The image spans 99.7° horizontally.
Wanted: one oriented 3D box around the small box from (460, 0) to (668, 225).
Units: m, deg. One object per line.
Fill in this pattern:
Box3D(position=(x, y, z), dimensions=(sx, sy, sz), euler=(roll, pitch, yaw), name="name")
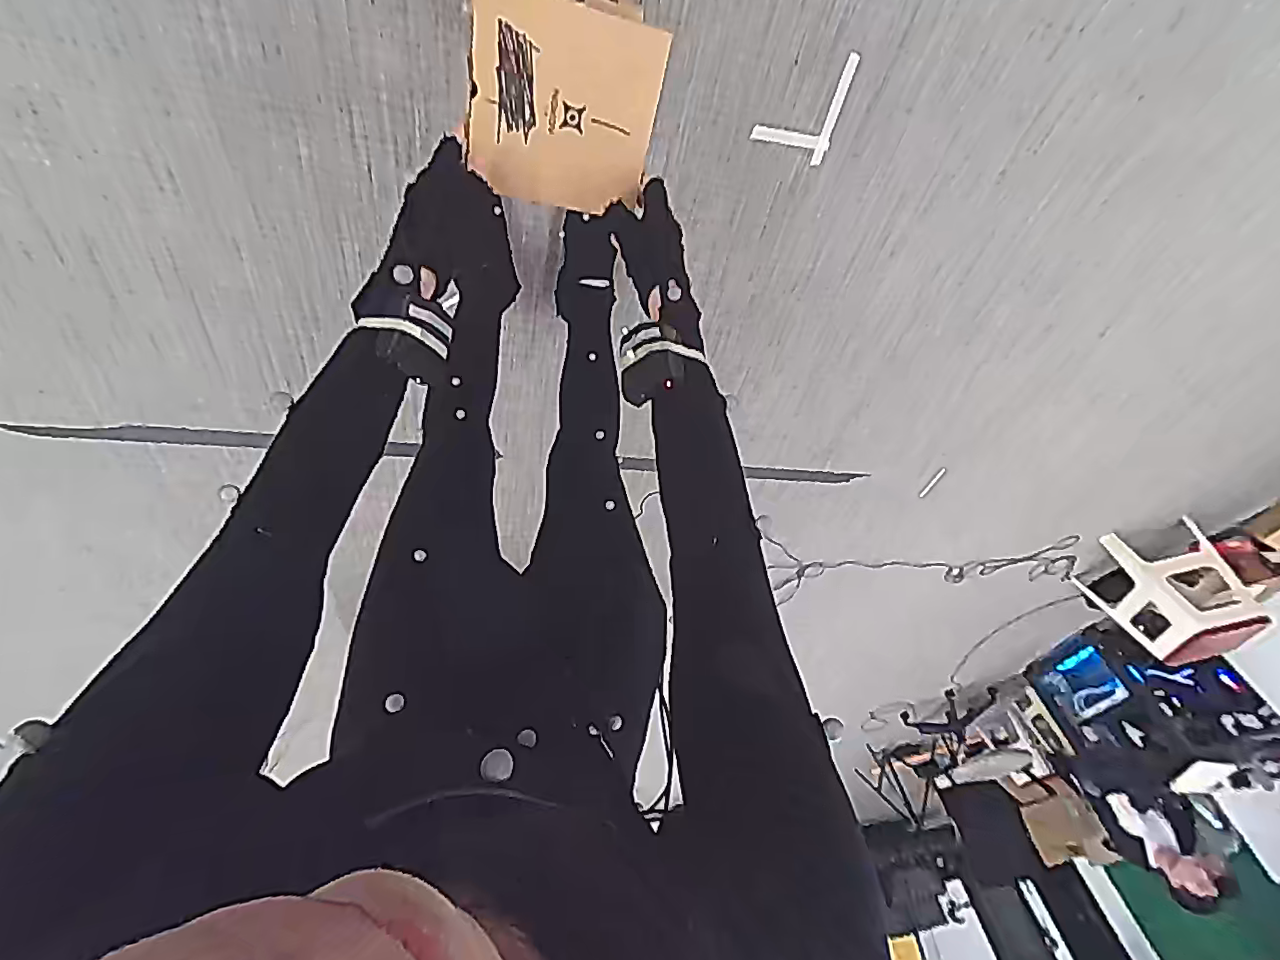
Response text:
Box3D(position=(-0.092, -0.395, 0.575), dimensions=(0.179, 0.176, 0.168), euler=(4, 129, -19), name="small box")
